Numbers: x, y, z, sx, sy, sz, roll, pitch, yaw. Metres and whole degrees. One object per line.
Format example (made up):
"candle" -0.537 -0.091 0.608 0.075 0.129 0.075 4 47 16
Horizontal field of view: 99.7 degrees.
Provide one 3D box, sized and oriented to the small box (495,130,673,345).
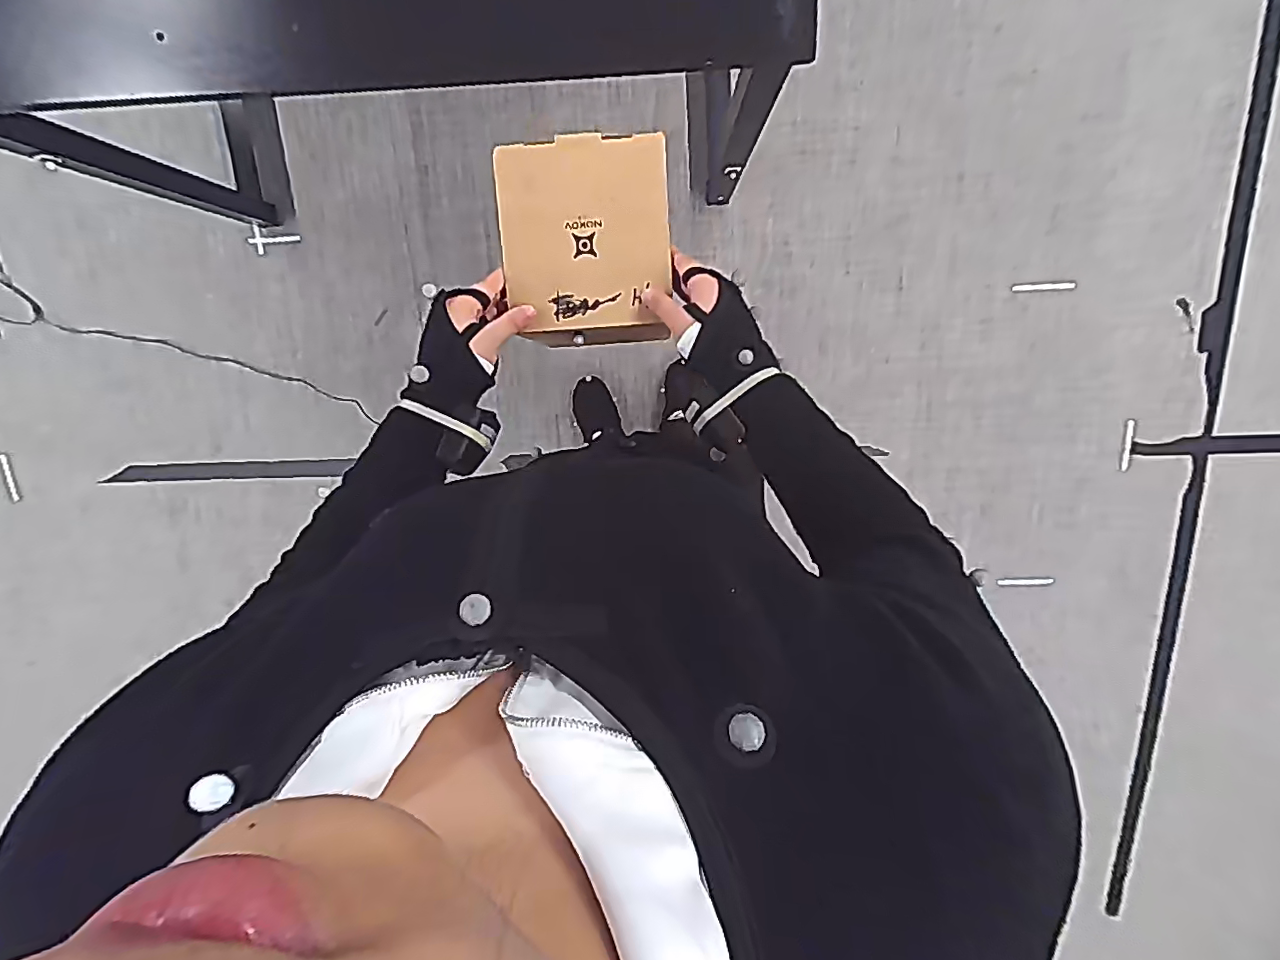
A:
"small box" -0.051 -0.251 0.601 0.168 0.176 0.179 -3 99 3
